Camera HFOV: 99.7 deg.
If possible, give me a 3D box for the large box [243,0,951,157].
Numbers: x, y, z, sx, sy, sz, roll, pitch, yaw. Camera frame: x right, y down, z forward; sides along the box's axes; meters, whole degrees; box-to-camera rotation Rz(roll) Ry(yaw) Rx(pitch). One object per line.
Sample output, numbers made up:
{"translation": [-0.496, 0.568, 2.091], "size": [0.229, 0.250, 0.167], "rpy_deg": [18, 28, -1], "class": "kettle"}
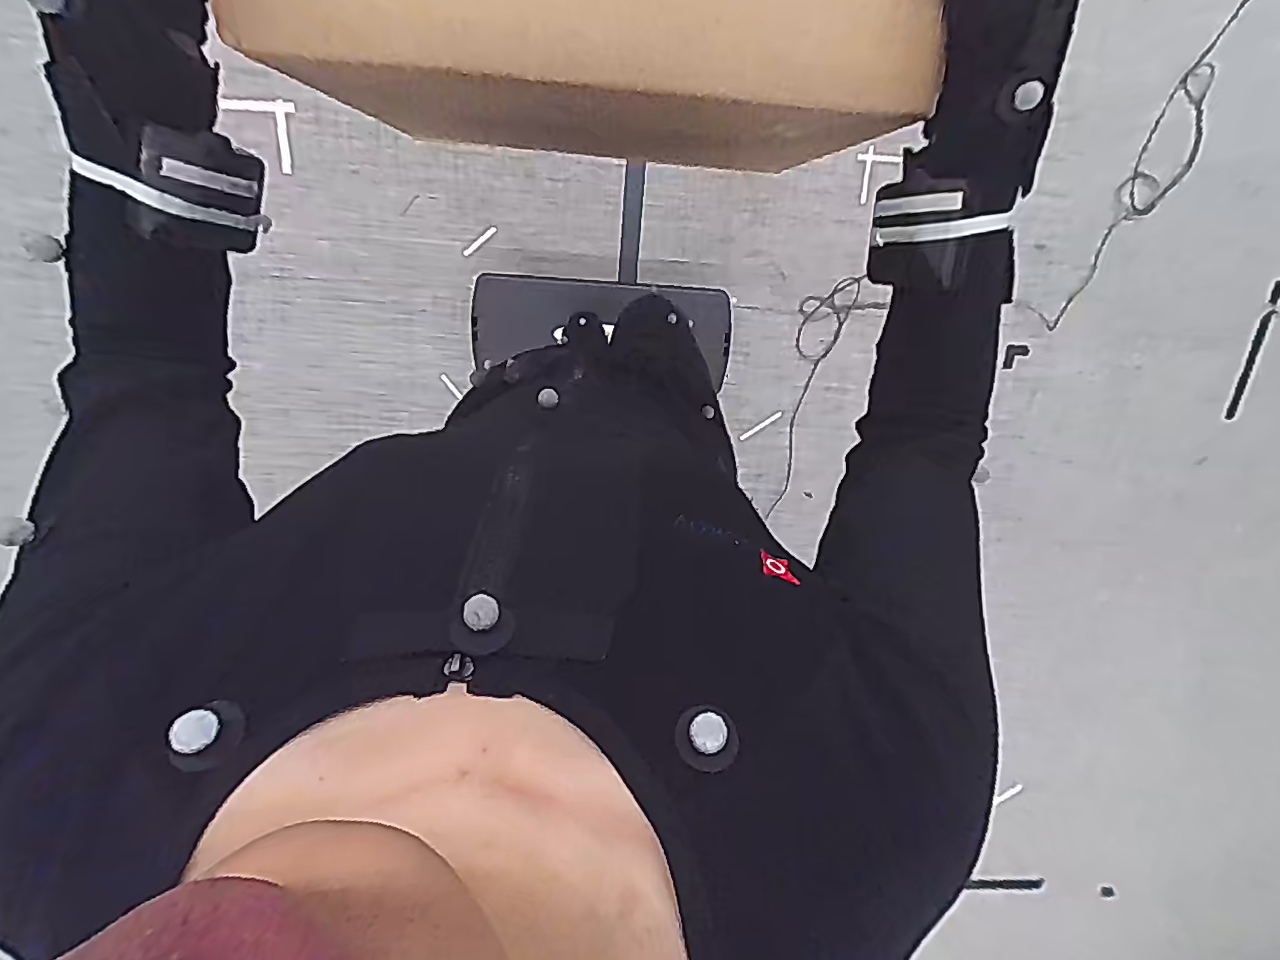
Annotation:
{"translation": [-0.023, -0.438, 0.388], "size": [0.408, 0.320, 0.320], "rpy_deg": [2, 115, -5], "class": "large box"}
